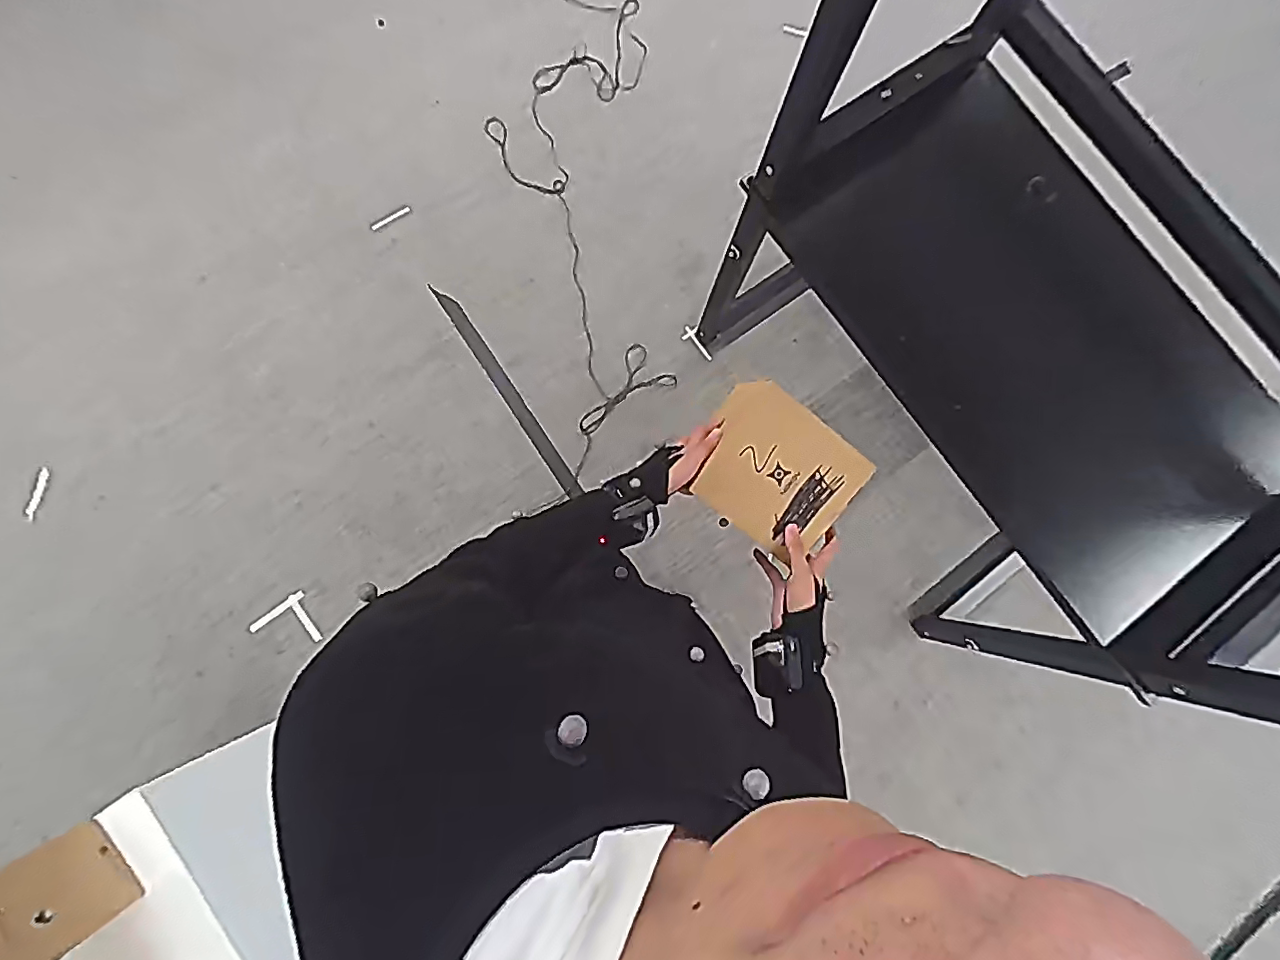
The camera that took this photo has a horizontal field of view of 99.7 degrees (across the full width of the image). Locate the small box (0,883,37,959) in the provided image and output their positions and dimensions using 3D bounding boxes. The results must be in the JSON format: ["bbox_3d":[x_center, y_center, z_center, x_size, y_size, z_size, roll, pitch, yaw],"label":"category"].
[{"bbox_3d":[-0.959,0.672,0.697,0.179,0.176,0.168,-37,86,-7],"label":"small box"}]

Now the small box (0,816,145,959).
[{"bbox_3d":[-0.969,0.693,0.860,0.179,0.176,0.168,-38,87,-7],"label":"small box"}]
